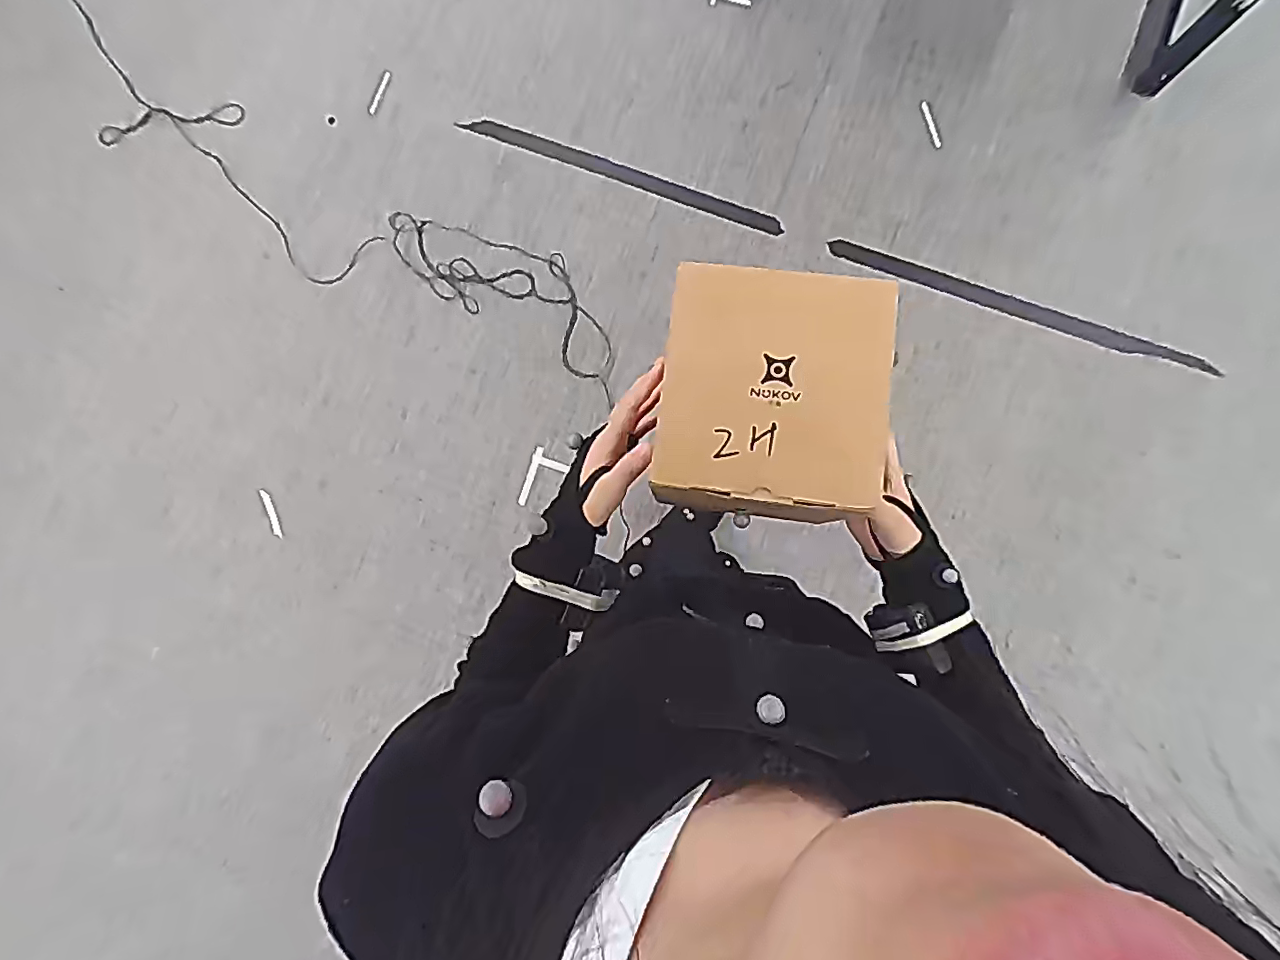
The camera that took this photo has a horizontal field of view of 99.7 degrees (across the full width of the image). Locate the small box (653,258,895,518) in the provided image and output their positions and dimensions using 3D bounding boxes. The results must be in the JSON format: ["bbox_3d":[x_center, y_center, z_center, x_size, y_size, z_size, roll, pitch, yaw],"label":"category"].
[{"bbox_3d":[0.106,-0.067,0.481,0.168,0.176,0.179,7,83,5],"label":"small box"}]
